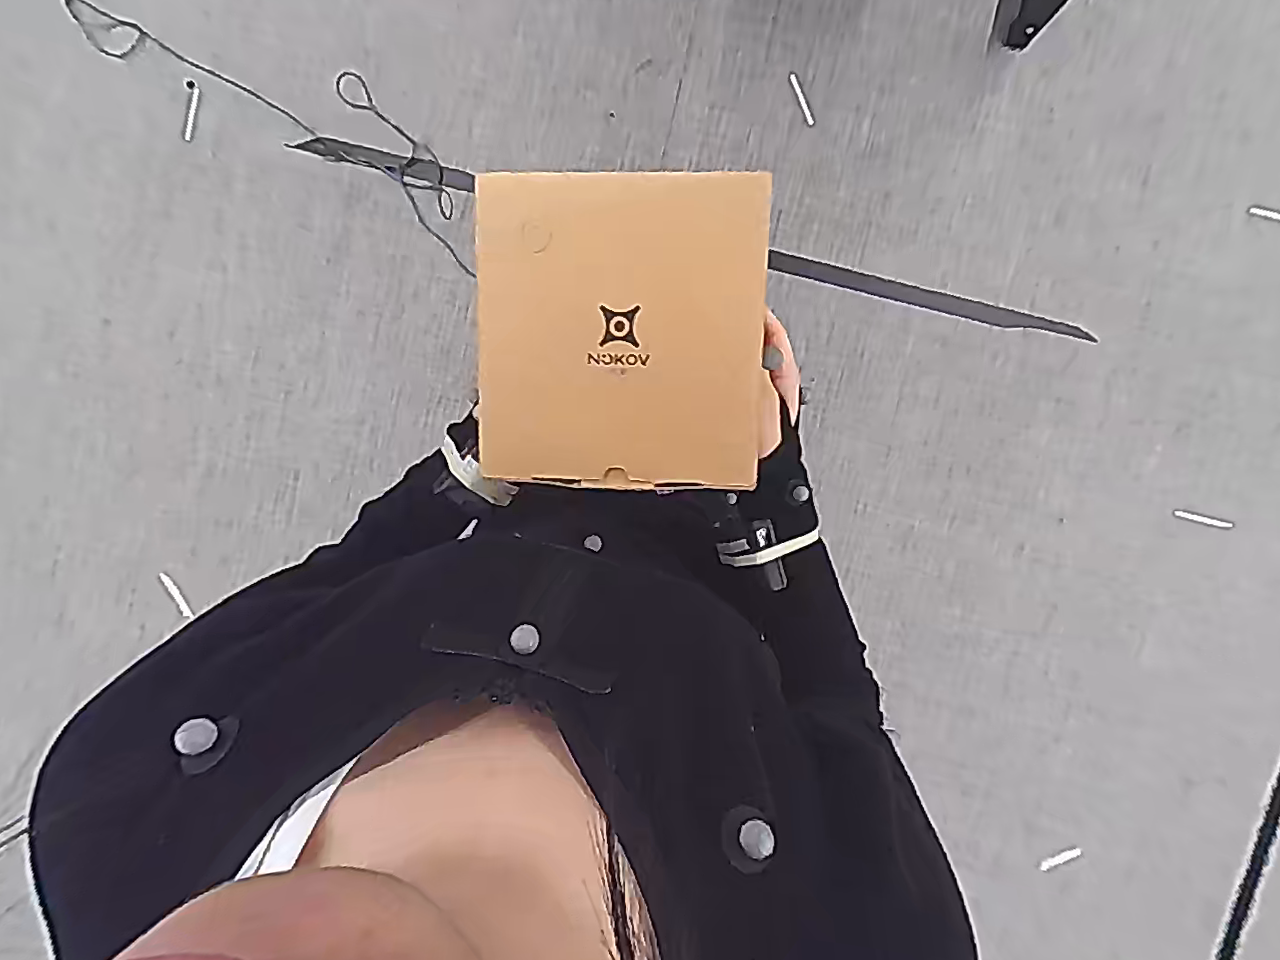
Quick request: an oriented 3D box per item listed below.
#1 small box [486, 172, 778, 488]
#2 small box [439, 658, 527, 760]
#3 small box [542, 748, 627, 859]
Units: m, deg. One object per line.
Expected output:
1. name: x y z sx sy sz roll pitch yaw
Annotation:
1. small box: -0.004 -0.095 0.389 0.168 0.176 0.179 2 99 3
2. small box: -0.409 0.602 1.437 0.168 0.176 0.179 13 92 0
3. small box: -0.140 0.852 1.443 0.179 0.176 0.168 21 93 -1
